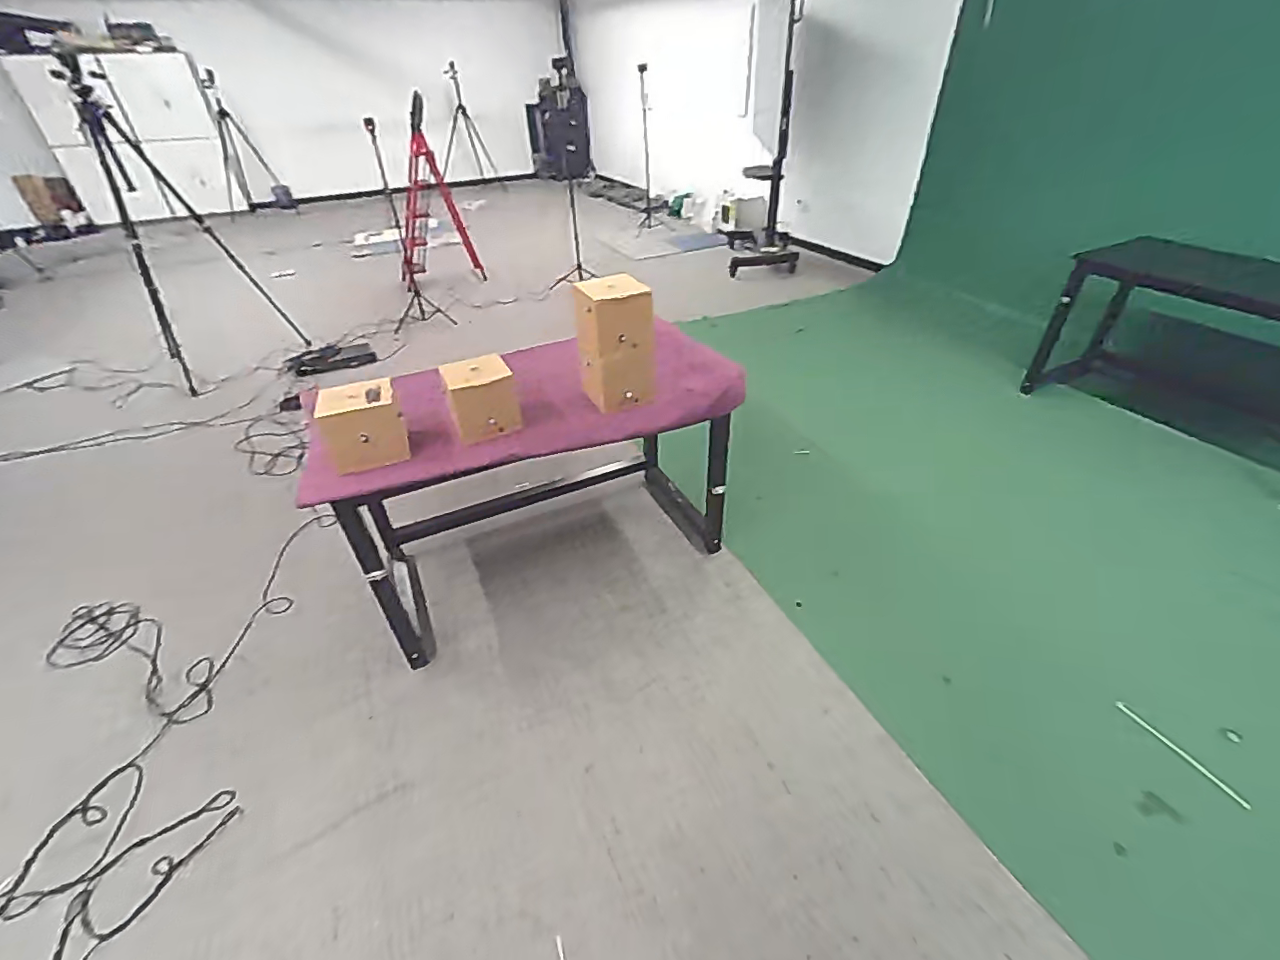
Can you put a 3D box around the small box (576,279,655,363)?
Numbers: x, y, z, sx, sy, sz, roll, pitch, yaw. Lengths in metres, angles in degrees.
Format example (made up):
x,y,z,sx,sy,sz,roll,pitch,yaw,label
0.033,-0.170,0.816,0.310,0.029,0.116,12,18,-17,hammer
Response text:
x,y,z,sx,sy,sz,roll,pitch,yaw,label
-0.069,-0.444,1.505,0.168,0.176,0.179,-18,40,-19,small box

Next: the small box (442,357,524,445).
x,y,z,sx,sy,sz,roll,pitch,yaw,label
-0.431,-0.219,1.490,0.168,0.176,0.179,-19,39,-20,small box

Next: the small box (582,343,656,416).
x,y,z,sx,sy,sz,roll,pitch,yaw,label
-0.063,-0.311,1.599,0.168,0.176,0.179,-17,40,-19,small box
